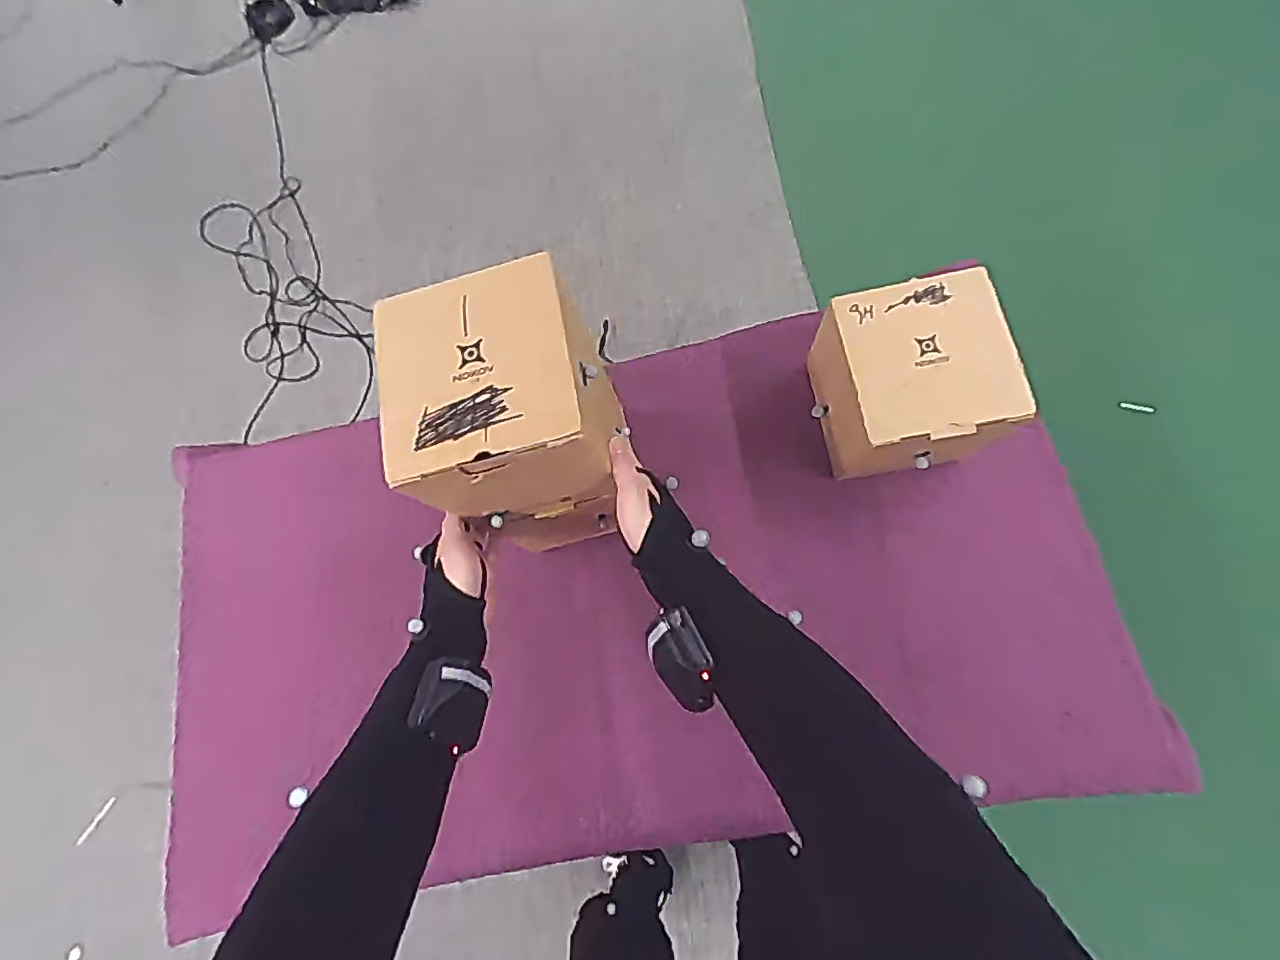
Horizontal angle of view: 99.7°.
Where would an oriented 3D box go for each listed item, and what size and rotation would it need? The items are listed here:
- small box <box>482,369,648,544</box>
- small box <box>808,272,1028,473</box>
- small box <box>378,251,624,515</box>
[{"bbox_3d":[-0.095,-0.026,0.674,0.168,0.176,0.179,-15,72,5],"label":"small box"},{"bbox_3d":[0.311,-0.112,0.648,0.168,0.176,0.179,-10,77,5],"label":"small box"},{"bbox_3d":[-0.122,-0.074,0.518,0.168,0.176,0.179,-15,71,6],"label":"small box"}]
